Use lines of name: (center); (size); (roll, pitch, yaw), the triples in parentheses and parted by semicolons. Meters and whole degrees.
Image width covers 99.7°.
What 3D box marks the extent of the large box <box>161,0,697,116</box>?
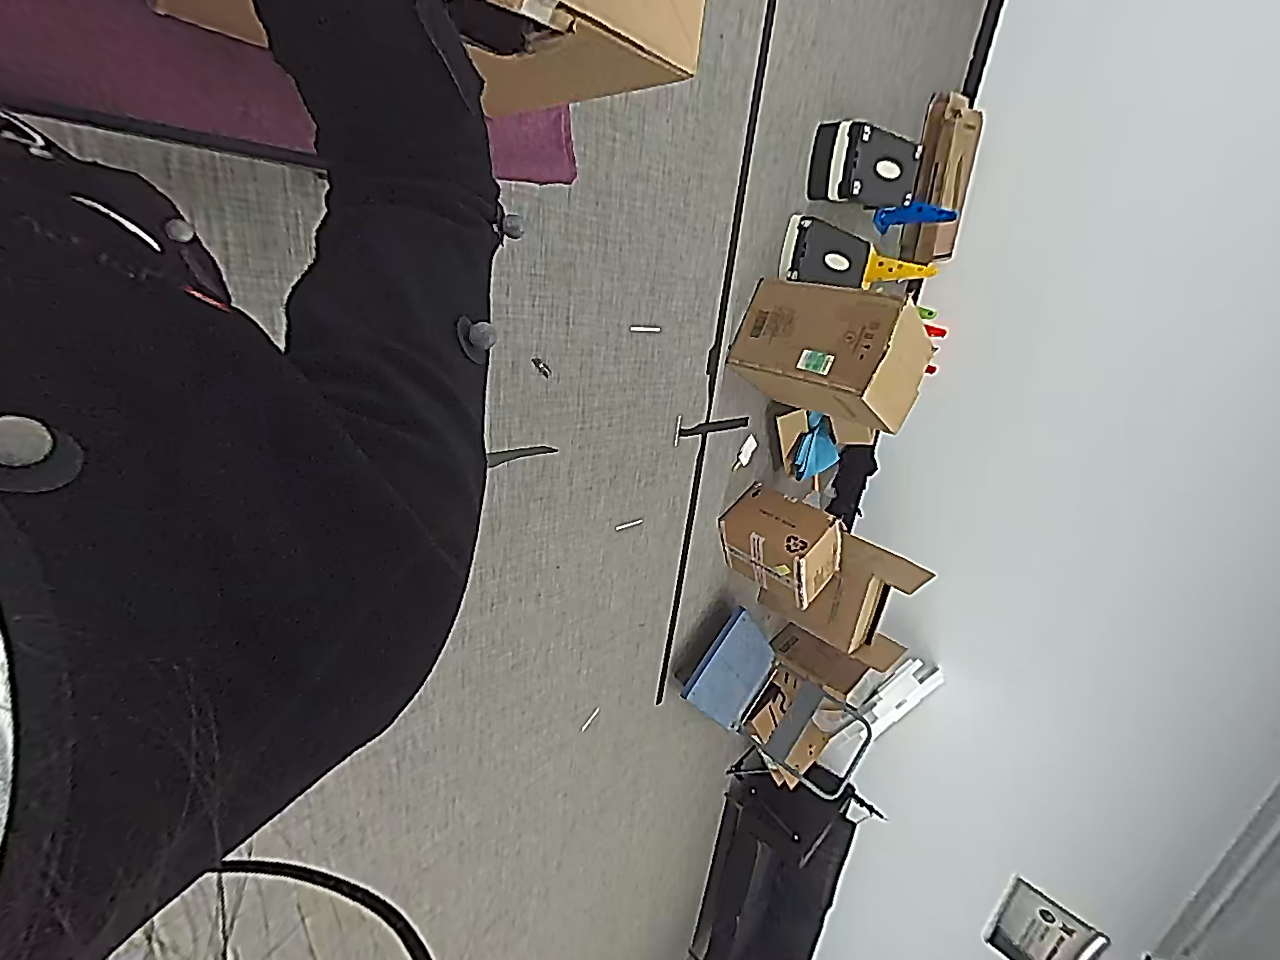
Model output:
large box: (-0.154, -0.531, 0.366); (0.320, 0.320, 0.408); (-15, 119, -44)
